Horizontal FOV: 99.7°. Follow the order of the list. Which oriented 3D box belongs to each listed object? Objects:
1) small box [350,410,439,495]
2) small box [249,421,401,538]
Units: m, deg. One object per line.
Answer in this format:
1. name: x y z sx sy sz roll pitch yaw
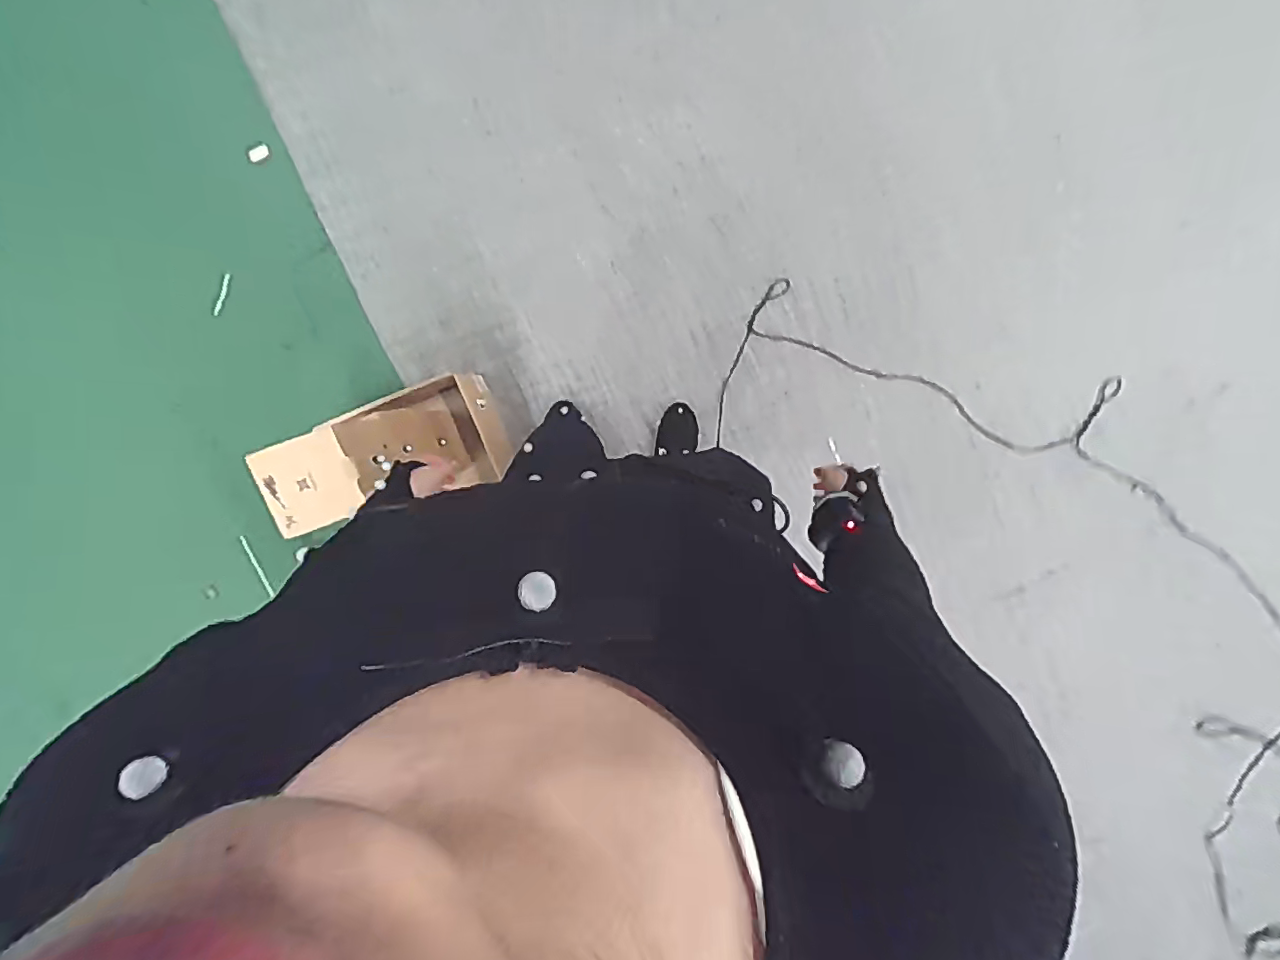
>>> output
1. small box: -0.581 -0.046 1.209 0.168 0.176 0.179 -23 99 4
2. small box: -0.592 -0.009 1.049 0.179 0.176 0.168 -19 100 3
